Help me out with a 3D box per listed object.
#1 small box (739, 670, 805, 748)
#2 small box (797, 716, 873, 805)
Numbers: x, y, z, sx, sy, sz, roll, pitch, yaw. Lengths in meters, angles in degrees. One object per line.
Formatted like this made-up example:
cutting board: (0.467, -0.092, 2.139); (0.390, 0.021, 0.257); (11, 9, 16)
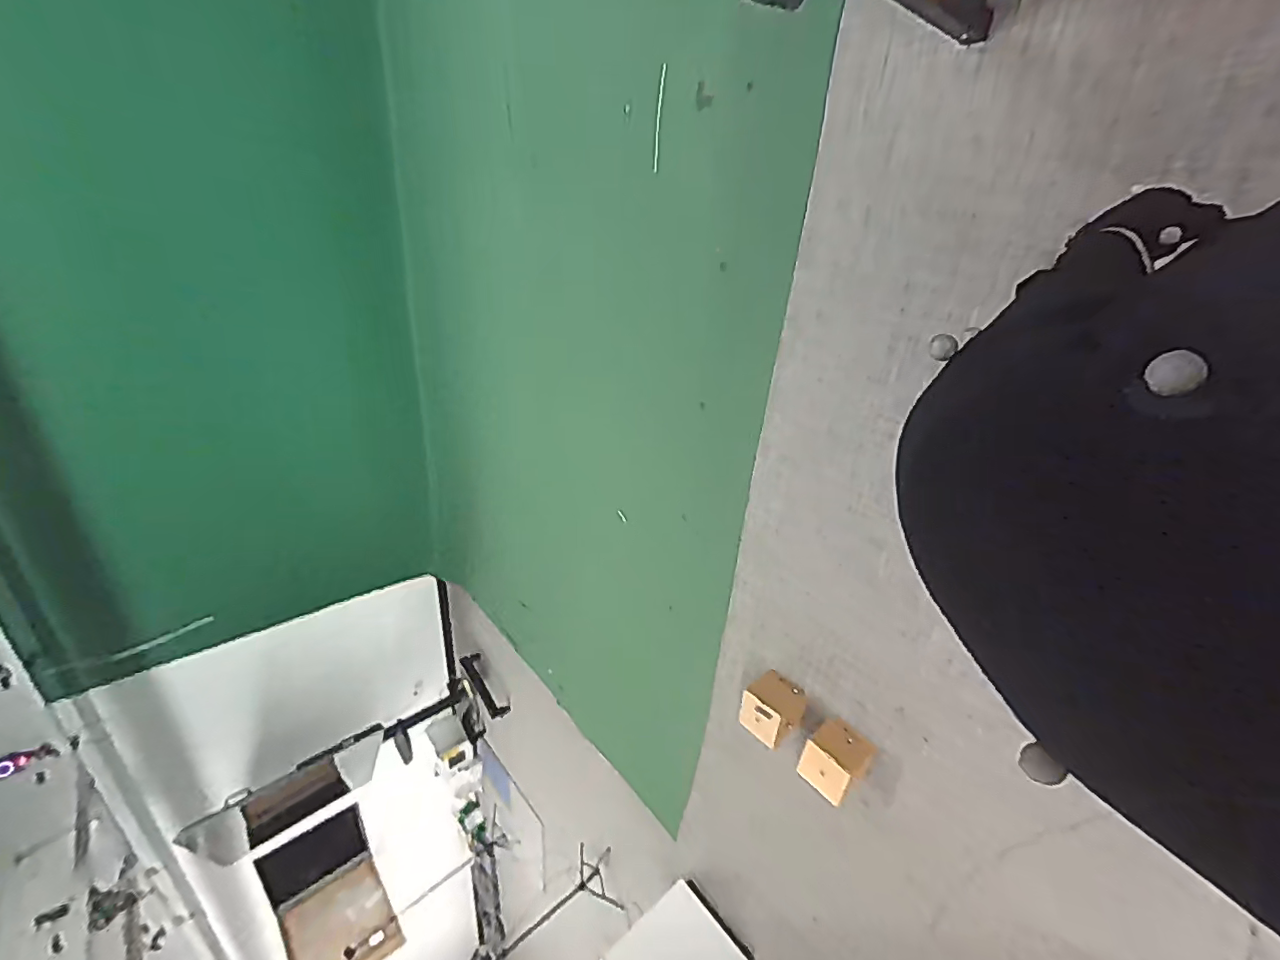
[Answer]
small box: (0.499, 0.856, 2.038); (0.168, 0.176, 0.179); (29, 125, 42)
small box: (0.675, 0.960, 1.863); (0.168, 0.176, 0.179); (32, 126, 40)
